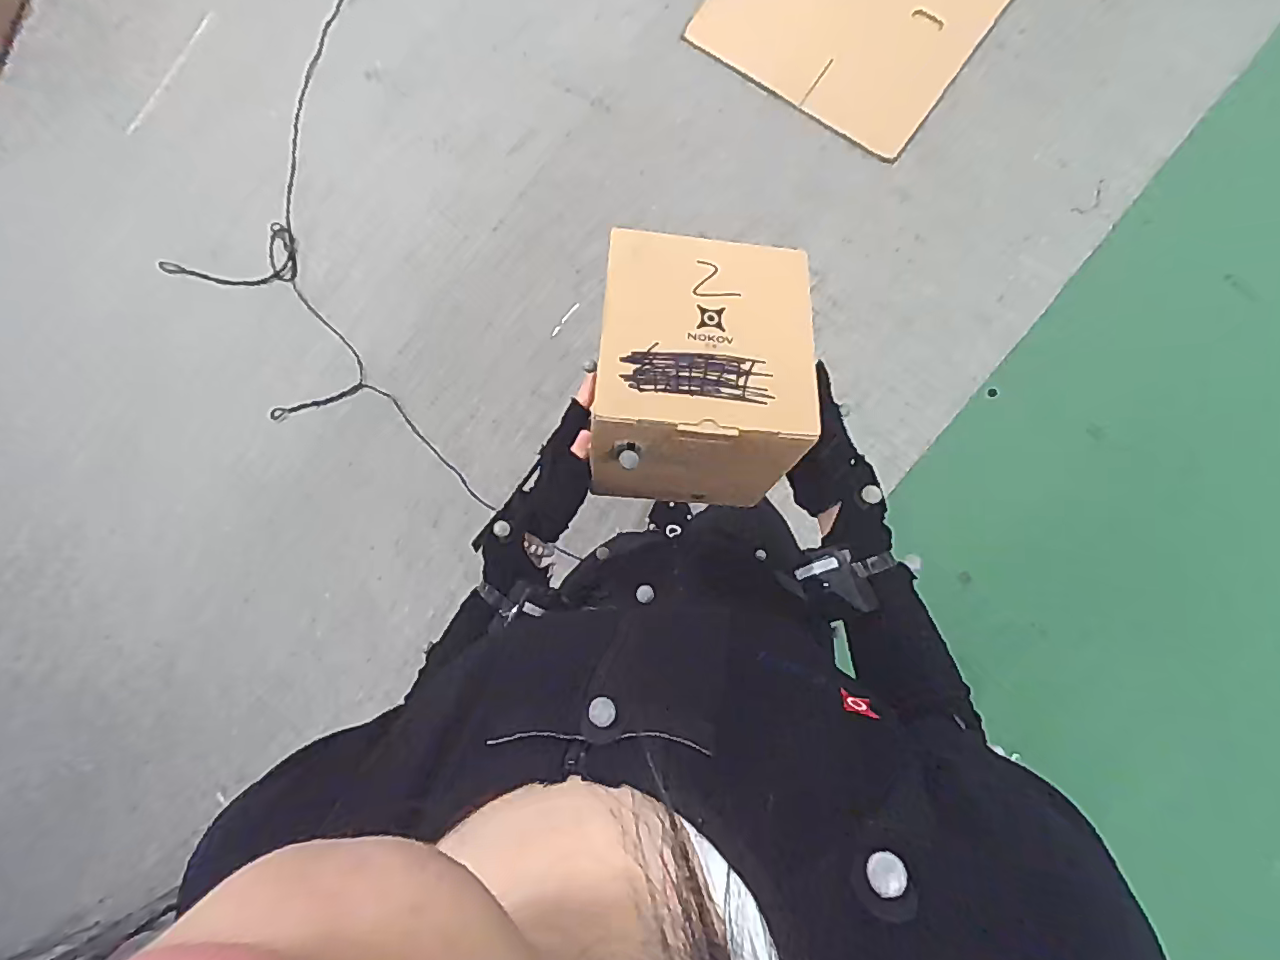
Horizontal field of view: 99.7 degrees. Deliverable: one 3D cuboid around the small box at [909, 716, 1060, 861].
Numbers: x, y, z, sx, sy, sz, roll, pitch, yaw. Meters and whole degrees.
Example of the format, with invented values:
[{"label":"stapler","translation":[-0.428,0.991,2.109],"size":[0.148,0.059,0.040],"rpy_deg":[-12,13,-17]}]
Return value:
[{"label":"small box","translation":[0.722,0.644,1.156],"size":[0.179,0.176,0.168],"rpy_deg":[36,93,6]}]
